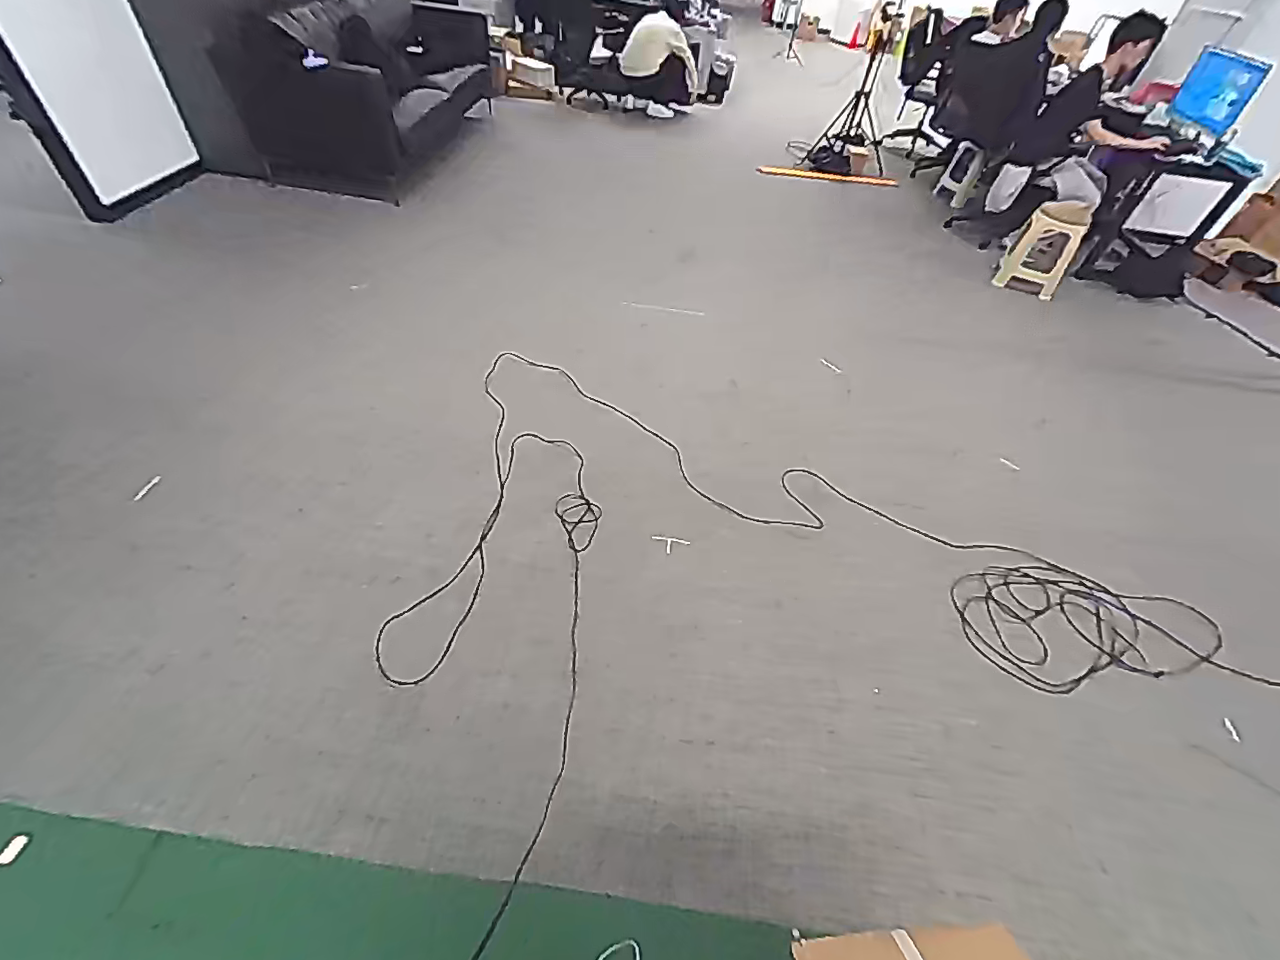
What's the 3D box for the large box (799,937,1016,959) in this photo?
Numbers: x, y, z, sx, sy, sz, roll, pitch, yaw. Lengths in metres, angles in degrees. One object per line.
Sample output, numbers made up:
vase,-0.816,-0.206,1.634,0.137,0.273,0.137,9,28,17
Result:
large box,0.389,0.824,0.581,0.320,0.408,0.320,-4,90,-1
